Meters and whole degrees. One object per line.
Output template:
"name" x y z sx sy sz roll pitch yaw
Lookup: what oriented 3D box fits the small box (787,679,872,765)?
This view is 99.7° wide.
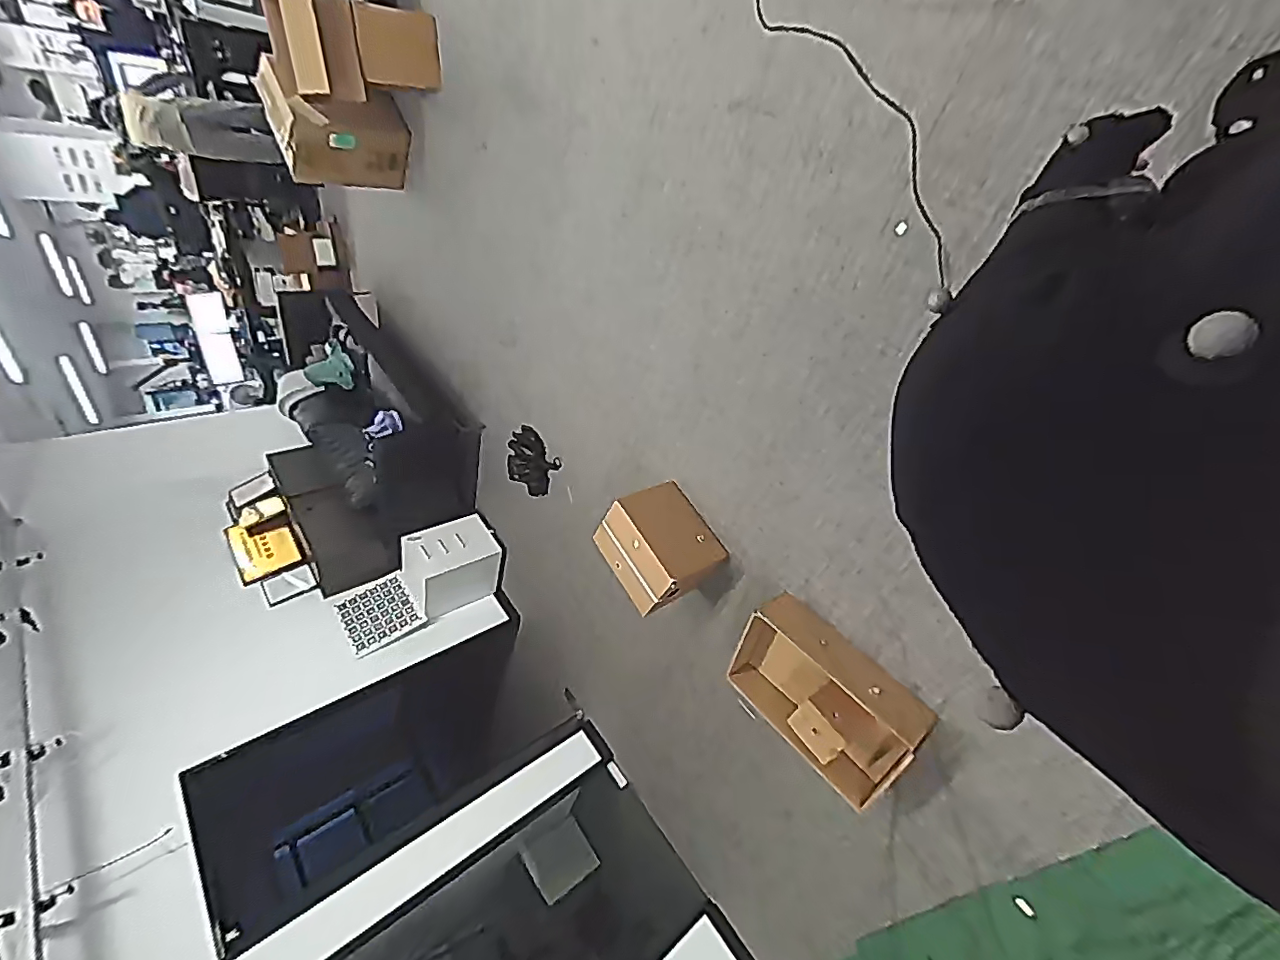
"small box" 0.641 0.809 1.821 0.179 0.176 0.168 48 137 31
